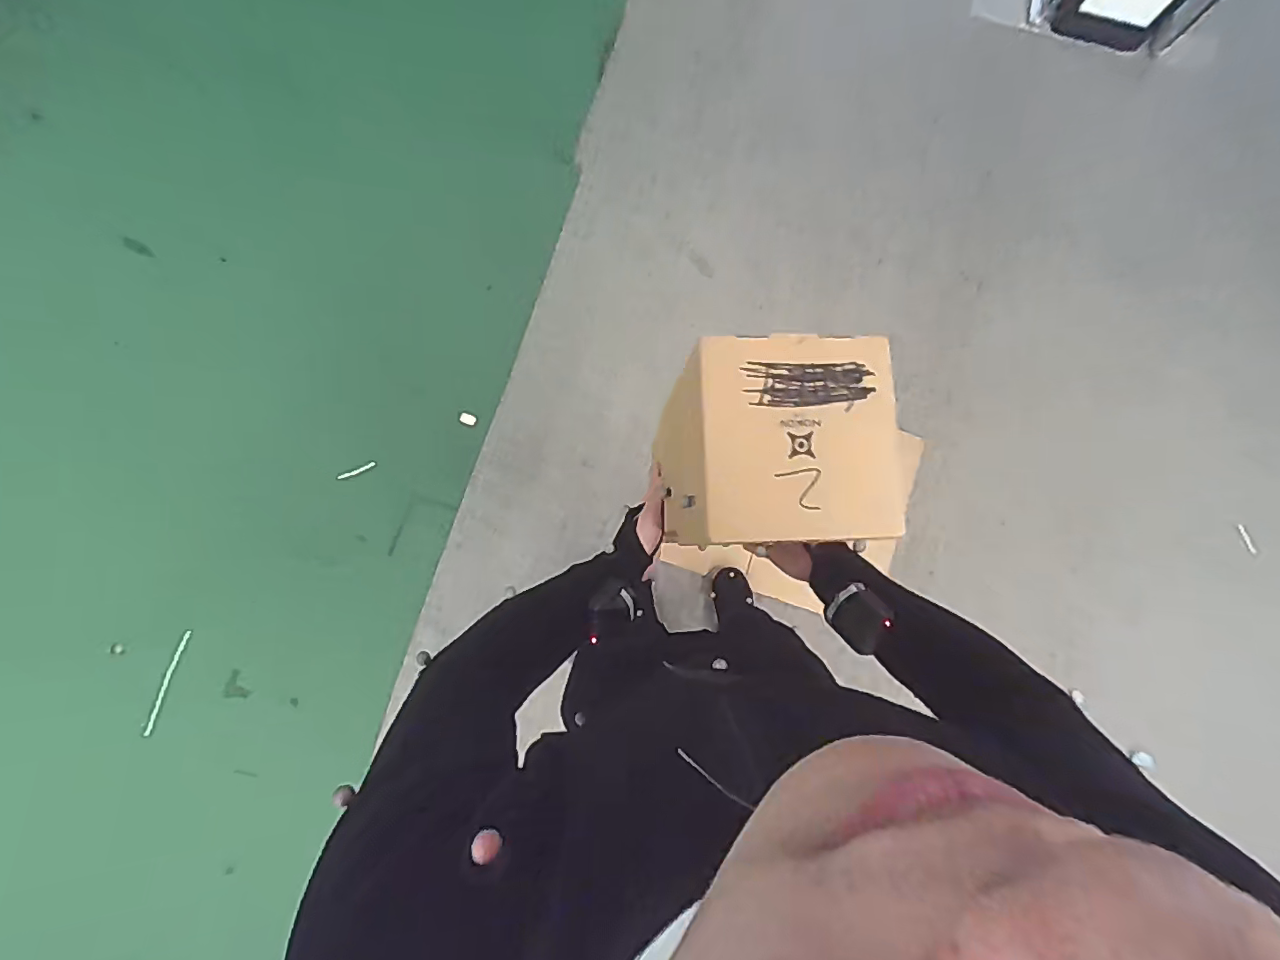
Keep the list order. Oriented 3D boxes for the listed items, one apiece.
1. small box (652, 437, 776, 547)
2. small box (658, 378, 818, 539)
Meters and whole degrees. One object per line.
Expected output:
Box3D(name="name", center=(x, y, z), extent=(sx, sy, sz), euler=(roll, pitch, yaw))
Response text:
Box3D(name="small box", center=(0.106, 0.012, 0.844), extent=(0.168, 0.176, 0.179), euler=(1, 81, -3))
Box3D(name="small box", center=(0.113, -0.016, 0.681), extent=(0.168, 0.176, 0.179), euler=(2, 81, -4))
